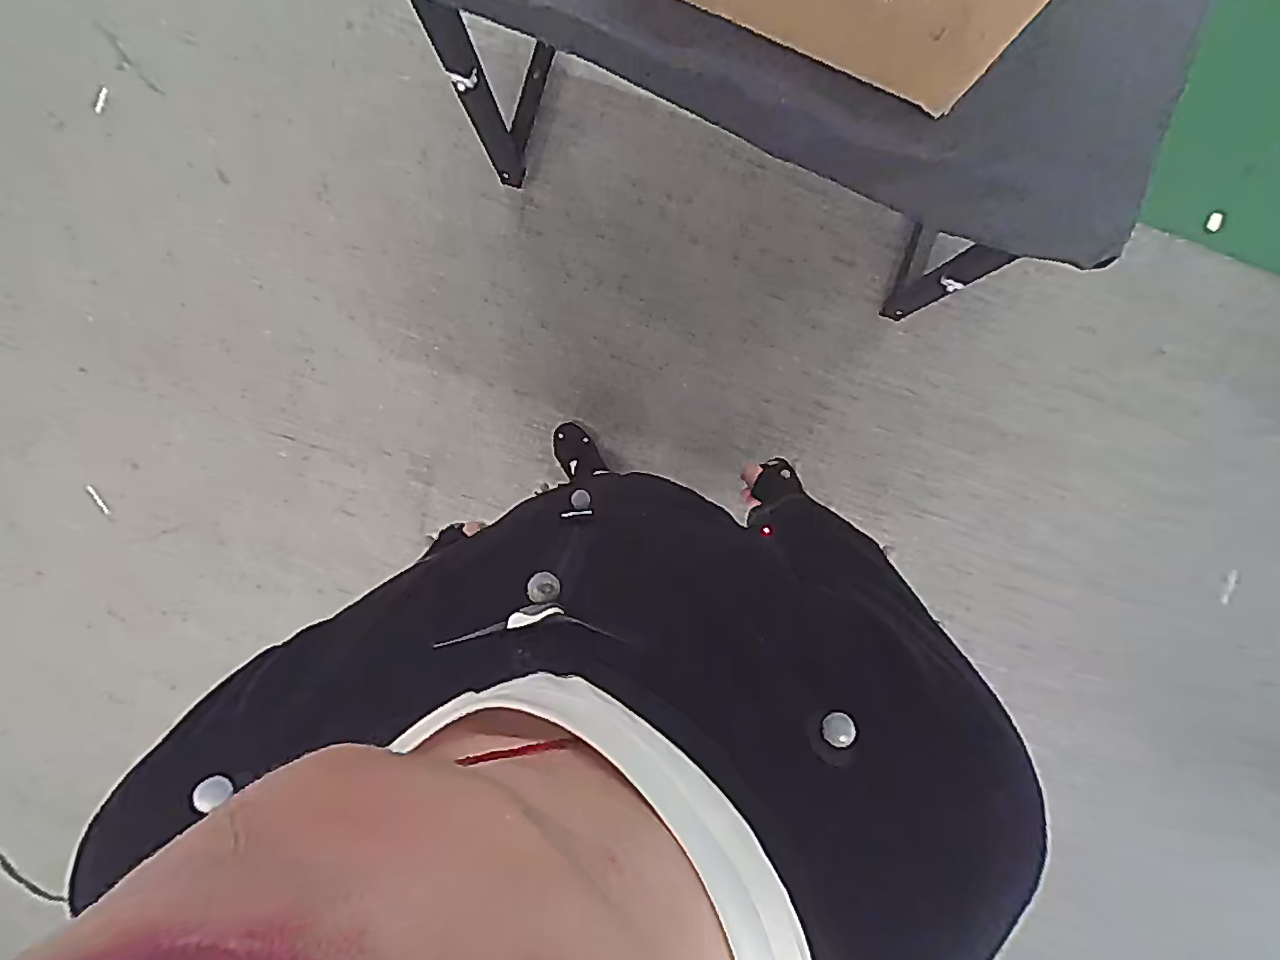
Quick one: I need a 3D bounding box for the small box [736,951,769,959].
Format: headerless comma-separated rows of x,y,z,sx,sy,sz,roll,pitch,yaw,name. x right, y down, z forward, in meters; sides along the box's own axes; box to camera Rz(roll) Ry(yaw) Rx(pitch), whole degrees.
0.350,1.546,1.575,0.168,0.176,0.179,20,93,-3,small box
